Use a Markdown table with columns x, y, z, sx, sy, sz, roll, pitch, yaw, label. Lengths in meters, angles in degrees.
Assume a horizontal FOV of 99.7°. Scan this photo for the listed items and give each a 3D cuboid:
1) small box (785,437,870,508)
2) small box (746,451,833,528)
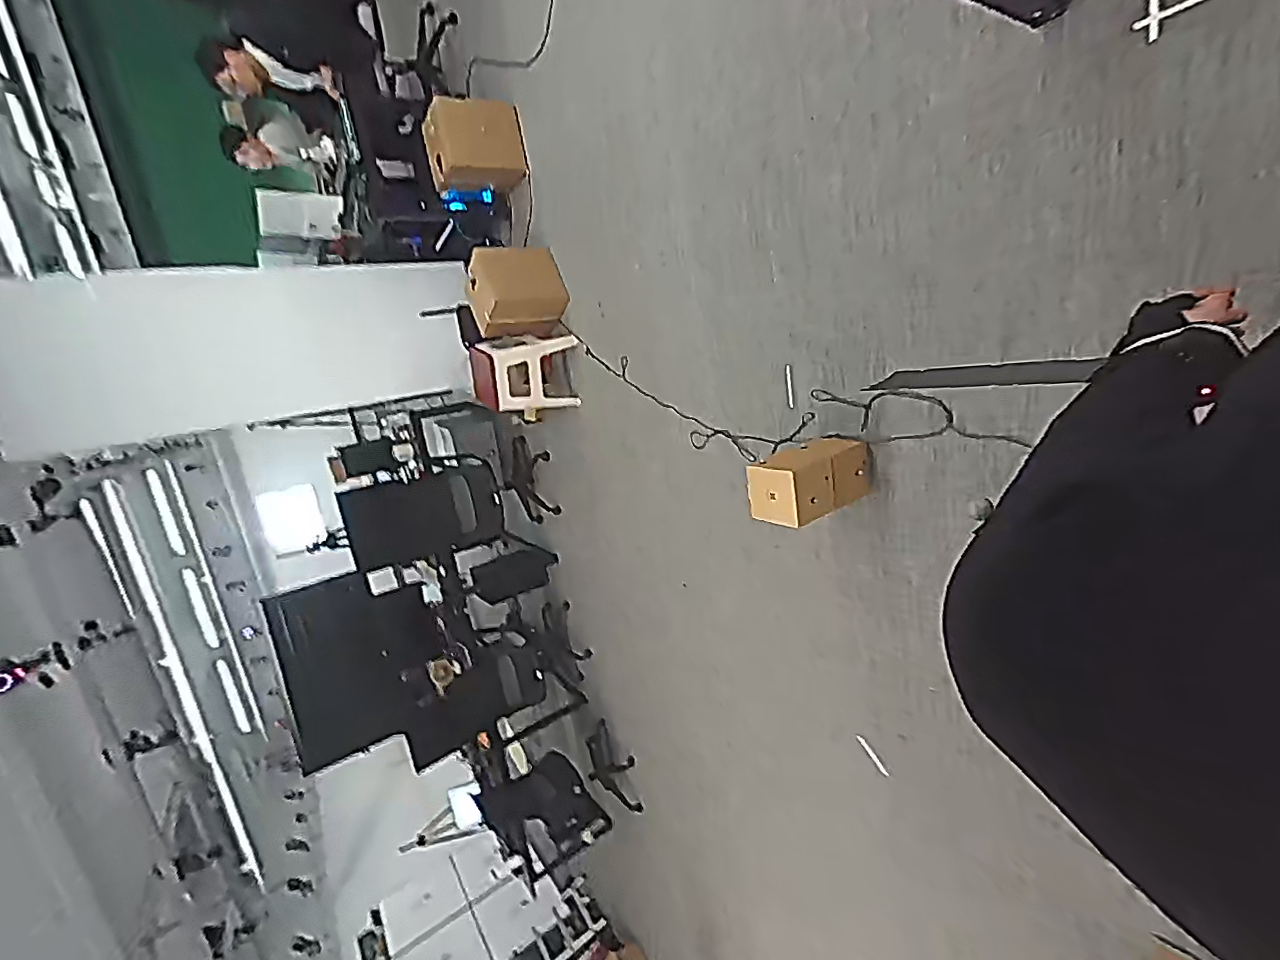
| x | y | z | sx | sy | sz | roll | pitch | yaw | label |
| --- | --- | --- | --- | --- | --- | --- | --- | --- | --- |
| 0.564 | -0.029 | 1.624 | 0.179 | 0.176 | 0.168 | 12 | 117 | 54 | small box |
| 0.433 | 0.019 | 1.542 | 0.179 | 0.176 | 0.168 | 12 | 117 | 56 | small box |
